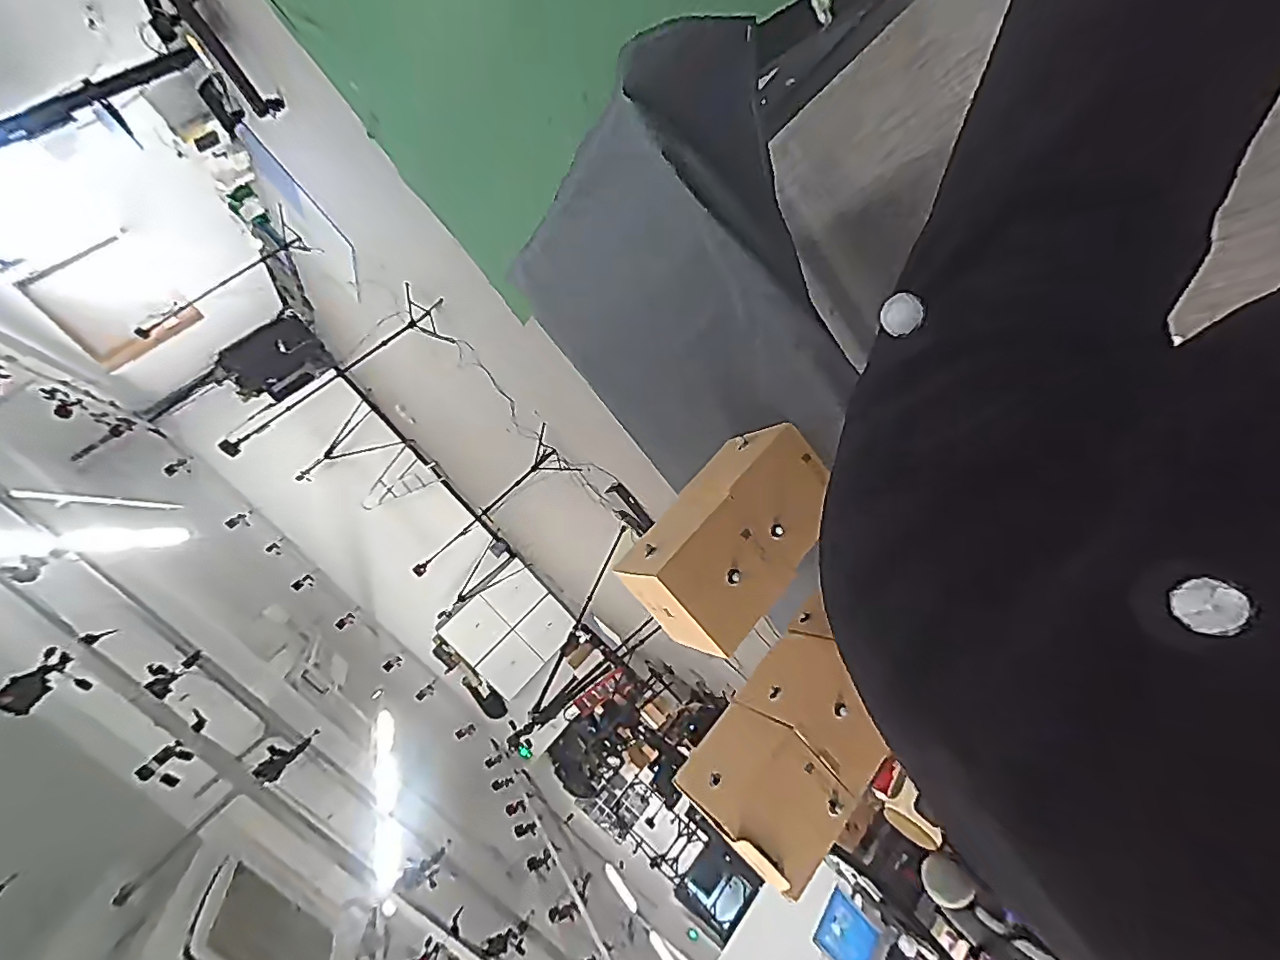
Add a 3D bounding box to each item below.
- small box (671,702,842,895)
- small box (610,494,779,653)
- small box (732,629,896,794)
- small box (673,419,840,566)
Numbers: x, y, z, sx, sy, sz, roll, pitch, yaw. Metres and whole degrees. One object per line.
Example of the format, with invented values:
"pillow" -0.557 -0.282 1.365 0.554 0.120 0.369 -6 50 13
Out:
"small box" 0.186 0.479 0.847 0.168 0.176 0.179 49 159 -7
"small box" 0.089 0.136 0.839 0.168 0.176 0.179 50 158 -11
"small box" 0.295 0.371 0.905 0.168 0.176 0.179 49 159 -9
"small box" 0.193 0.022 0.900 0.168 0.176 0.179 49 159 -12
